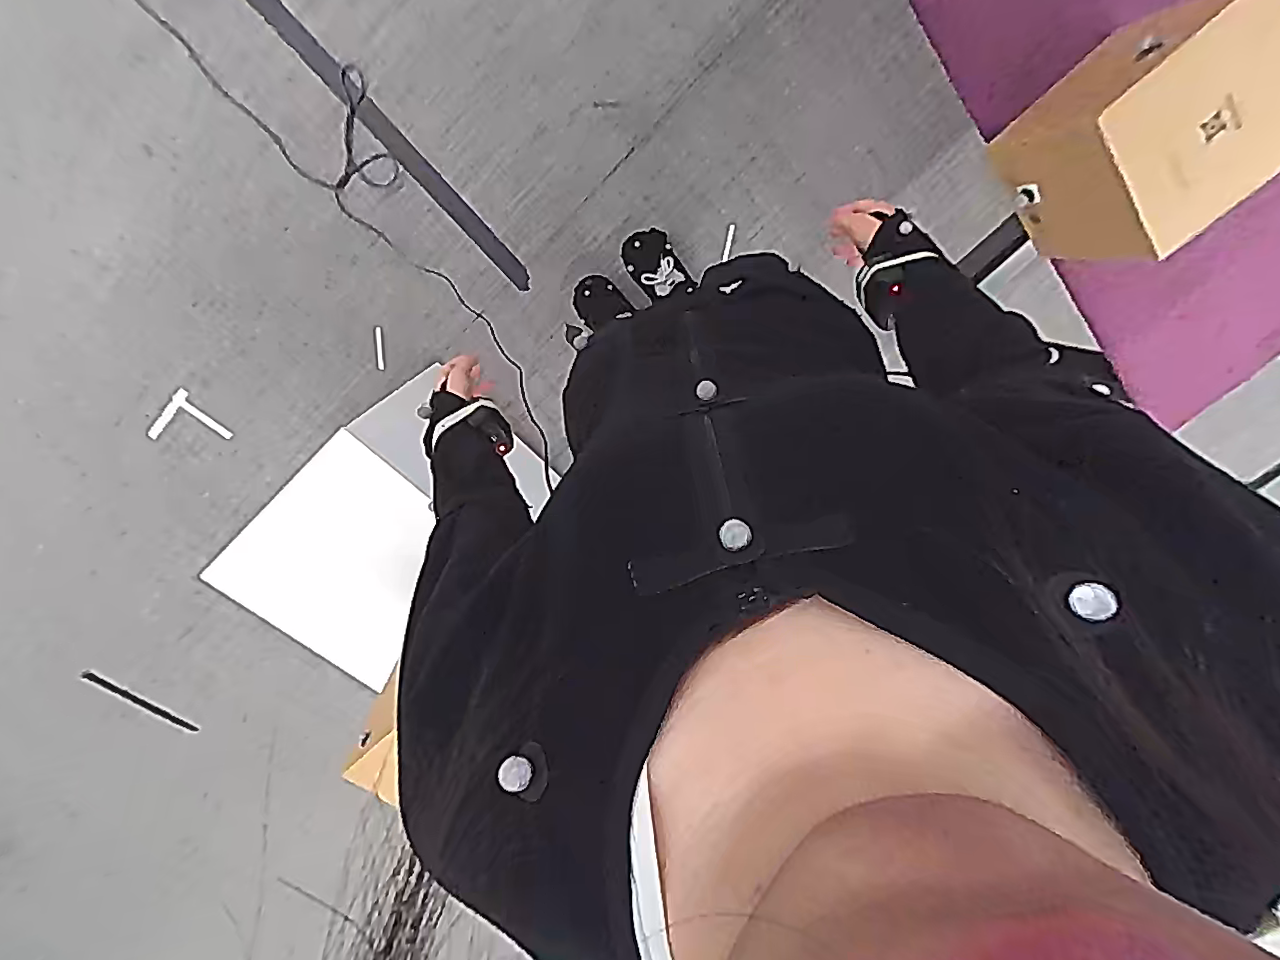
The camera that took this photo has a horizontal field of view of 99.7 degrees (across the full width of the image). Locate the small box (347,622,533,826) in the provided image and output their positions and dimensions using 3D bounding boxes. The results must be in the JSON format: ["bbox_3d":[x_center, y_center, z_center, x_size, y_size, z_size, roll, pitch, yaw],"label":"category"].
[{"bbox_3d":[-0.270,0.341,0.778,0.179,0.176,0.168,-42,110,13],"label":"small box"}]

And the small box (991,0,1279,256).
[{"bbox_3d":[0.526,-0.363,0.568,0.179,0.176,0.168,-41,109,14],"label":"small box"}]
